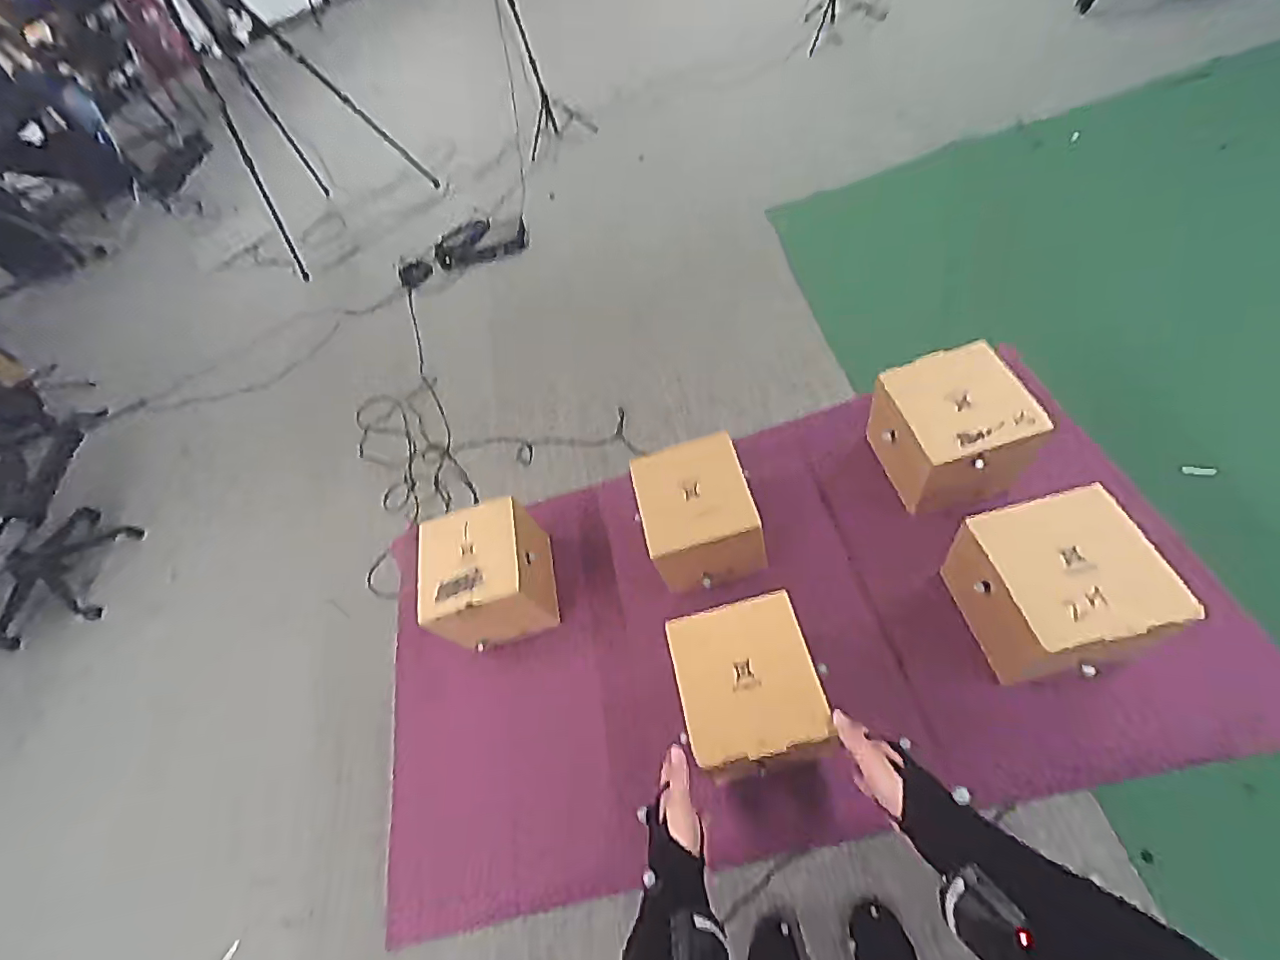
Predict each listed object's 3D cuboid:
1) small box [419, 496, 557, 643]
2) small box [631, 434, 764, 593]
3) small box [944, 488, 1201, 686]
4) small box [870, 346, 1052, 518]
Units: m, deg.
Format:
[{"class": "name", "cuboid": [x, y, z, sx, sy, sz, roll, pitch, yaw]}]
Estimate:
[{"class": "small box", "cuboid": [-0.248, 0.160, 0.907, 0.168, 0.176, 0.179, -17, 55, 5]}, {"class": "small box", "cuboid": [0.095, 0.059, 0.872, 0.168, 0.176, 0.179, -17, 56, 7]}, {"class": "small box", "cuboid": [0.519, 0.141, 0.689, 0.168, 0.176, 0.179, -16, 54, 7]}, {"class": "small box", "cuboid": [0.475, -0.069, 0.838, 0.168, 0.176, 0.179, -18, 56, 6]}]
